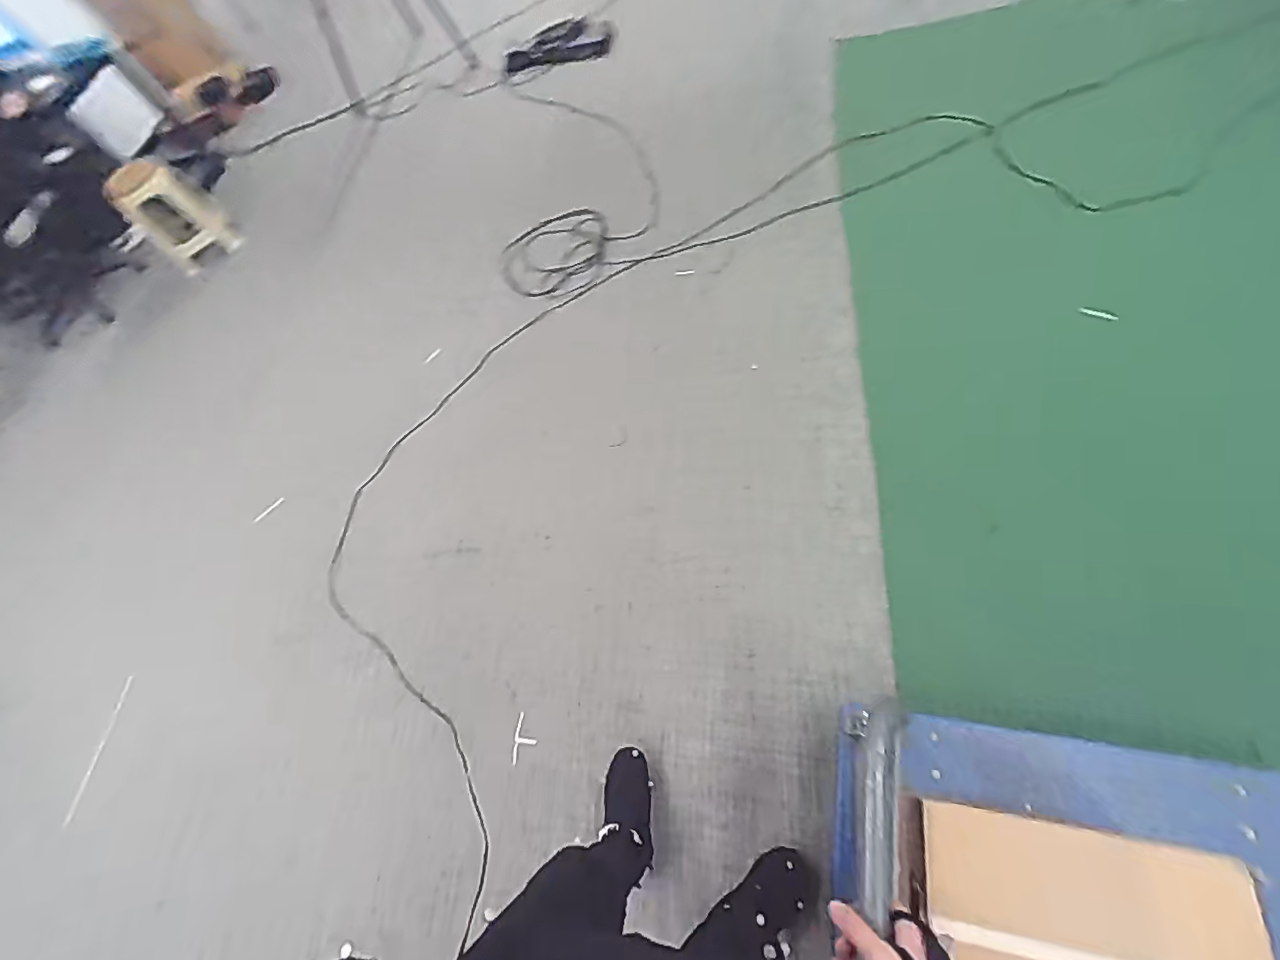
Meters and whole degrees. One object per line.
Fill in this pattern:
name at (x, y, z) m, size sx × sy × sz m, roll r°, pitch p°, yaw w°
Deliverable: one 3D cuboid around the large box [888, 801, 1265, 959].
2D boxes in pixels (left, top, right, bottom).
large box at (0.637, 0.727, 0.858) m, size 0.408 × 0.320 × 0.320 m, roll 4°, pitch 65°, yaw 16°
